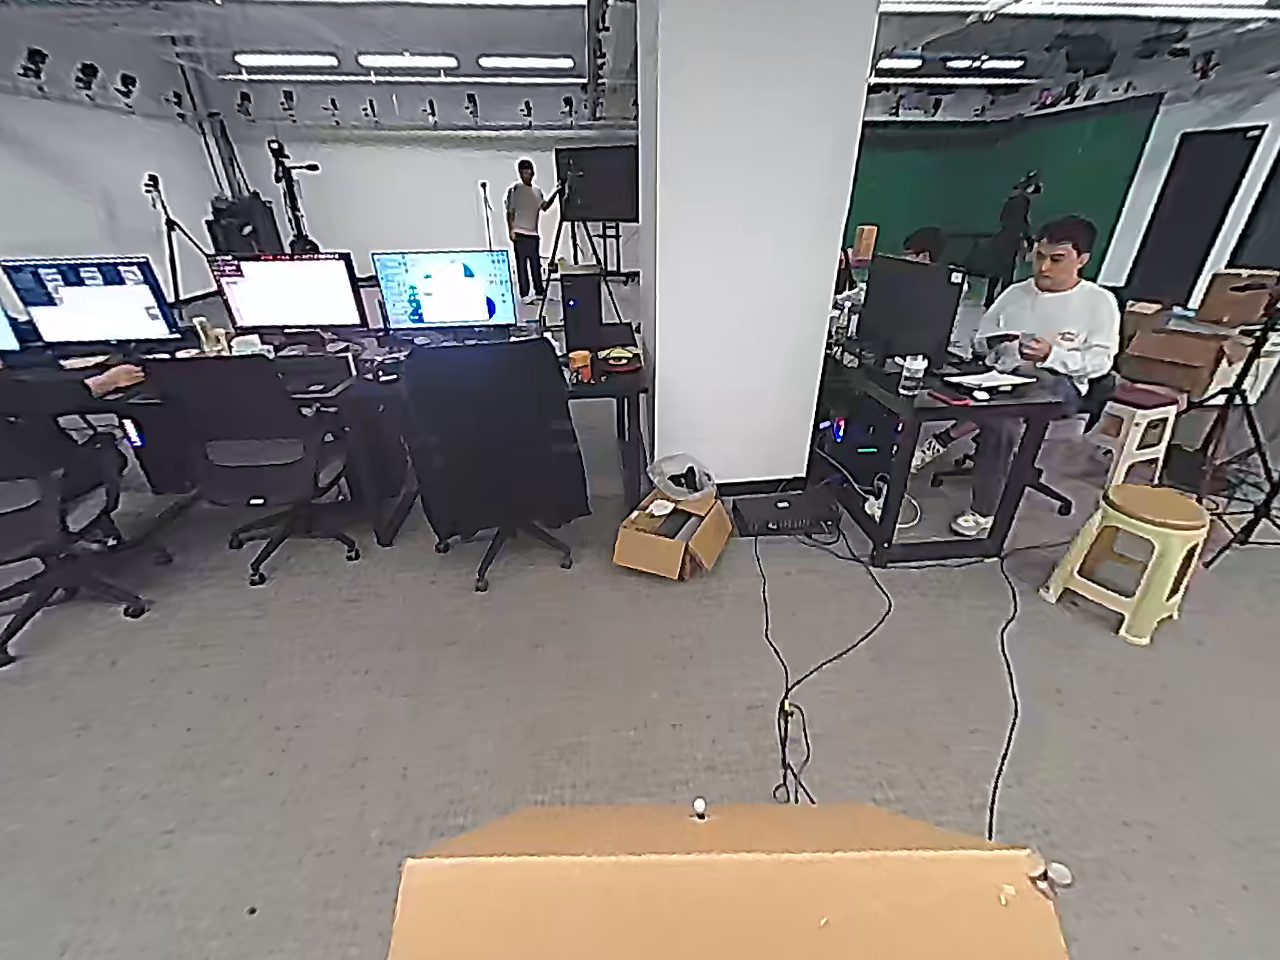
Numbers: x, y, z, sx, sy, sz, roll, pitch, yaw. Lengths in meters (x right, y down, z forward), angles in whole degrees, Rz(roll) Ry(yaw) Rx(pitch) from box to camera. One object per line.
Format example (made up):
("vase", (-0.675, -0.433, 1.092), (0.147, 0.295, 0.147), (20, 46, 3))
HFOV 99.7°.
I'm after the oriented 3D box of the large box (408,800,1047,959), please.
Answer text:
("large box", (0.058, 0.450, 0.428), (0.408, 0.320, 0.320), (-2, 65, 1))
